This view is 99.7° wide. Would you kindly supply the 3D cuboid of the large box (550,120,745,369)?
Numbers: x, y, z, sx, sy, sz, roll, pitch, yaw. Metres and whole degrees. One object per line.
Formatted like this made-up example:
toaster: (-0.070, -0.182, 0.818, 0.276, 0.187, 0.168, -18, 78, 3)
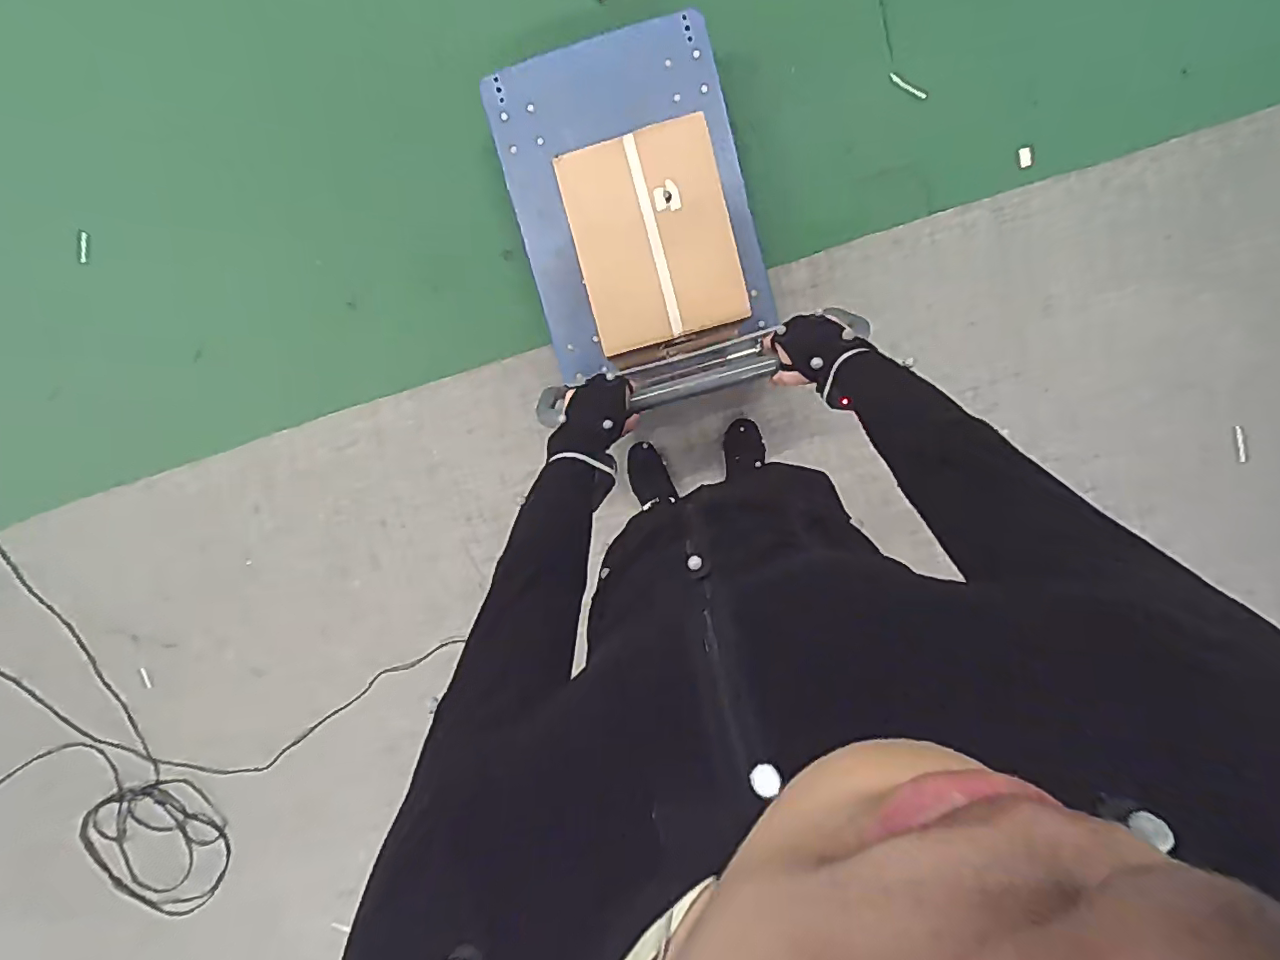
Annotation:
large box: (0.026, -0.499, 1.240, 0.320, 0.320, 0.408, -15, 96, 4)
